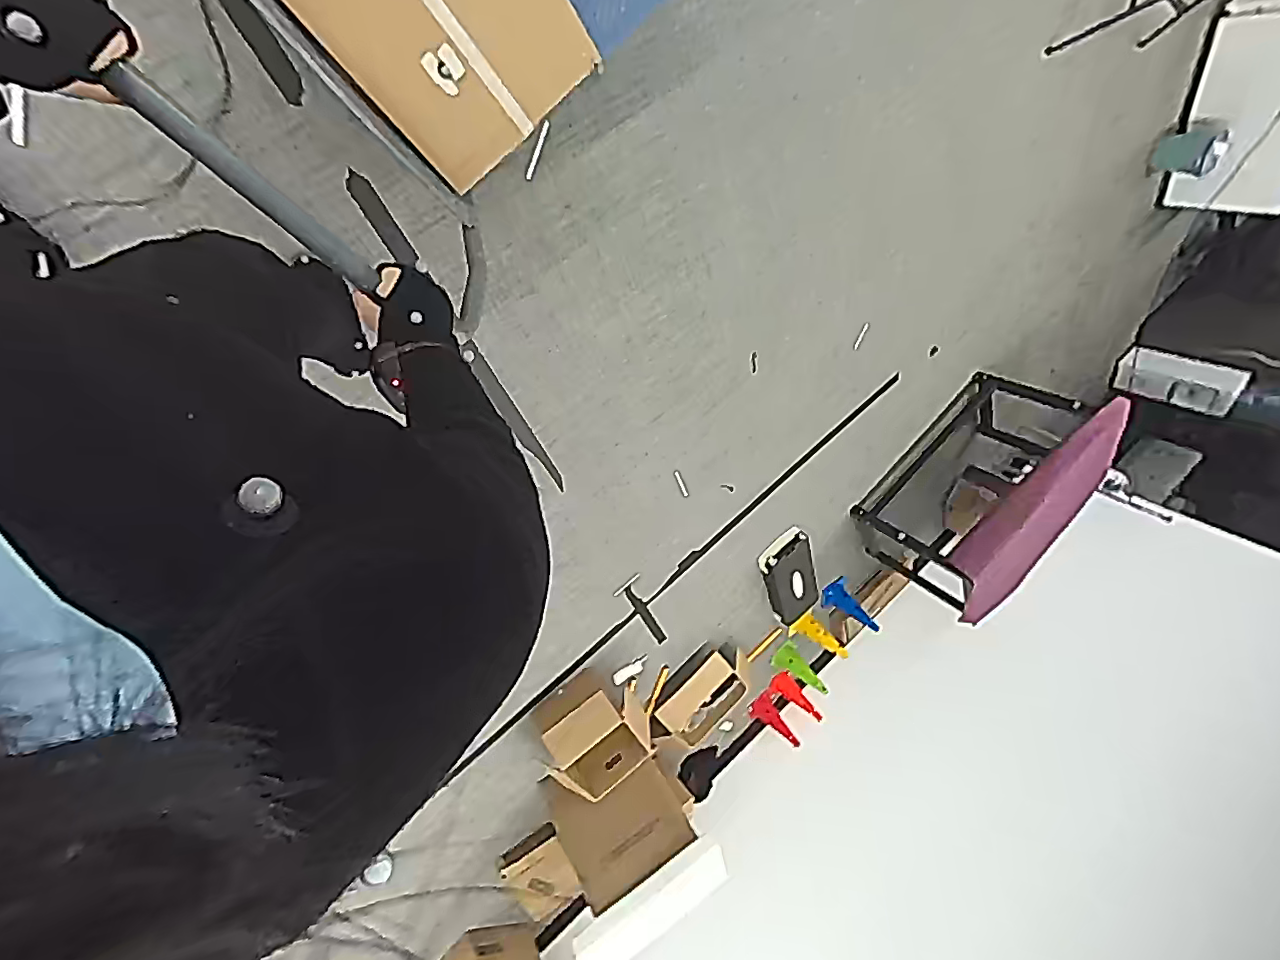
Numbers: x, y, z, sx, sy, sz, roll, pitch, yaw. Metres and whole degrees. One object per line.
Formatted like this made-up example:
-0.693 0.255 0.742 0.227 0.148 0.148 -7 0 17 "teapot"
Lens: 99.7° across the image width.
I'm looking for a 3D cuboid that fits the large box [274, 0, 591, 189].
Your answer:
-0.350 -0.769 0.845 0.320 0.320 0.408 -35 138 12 "large box"
